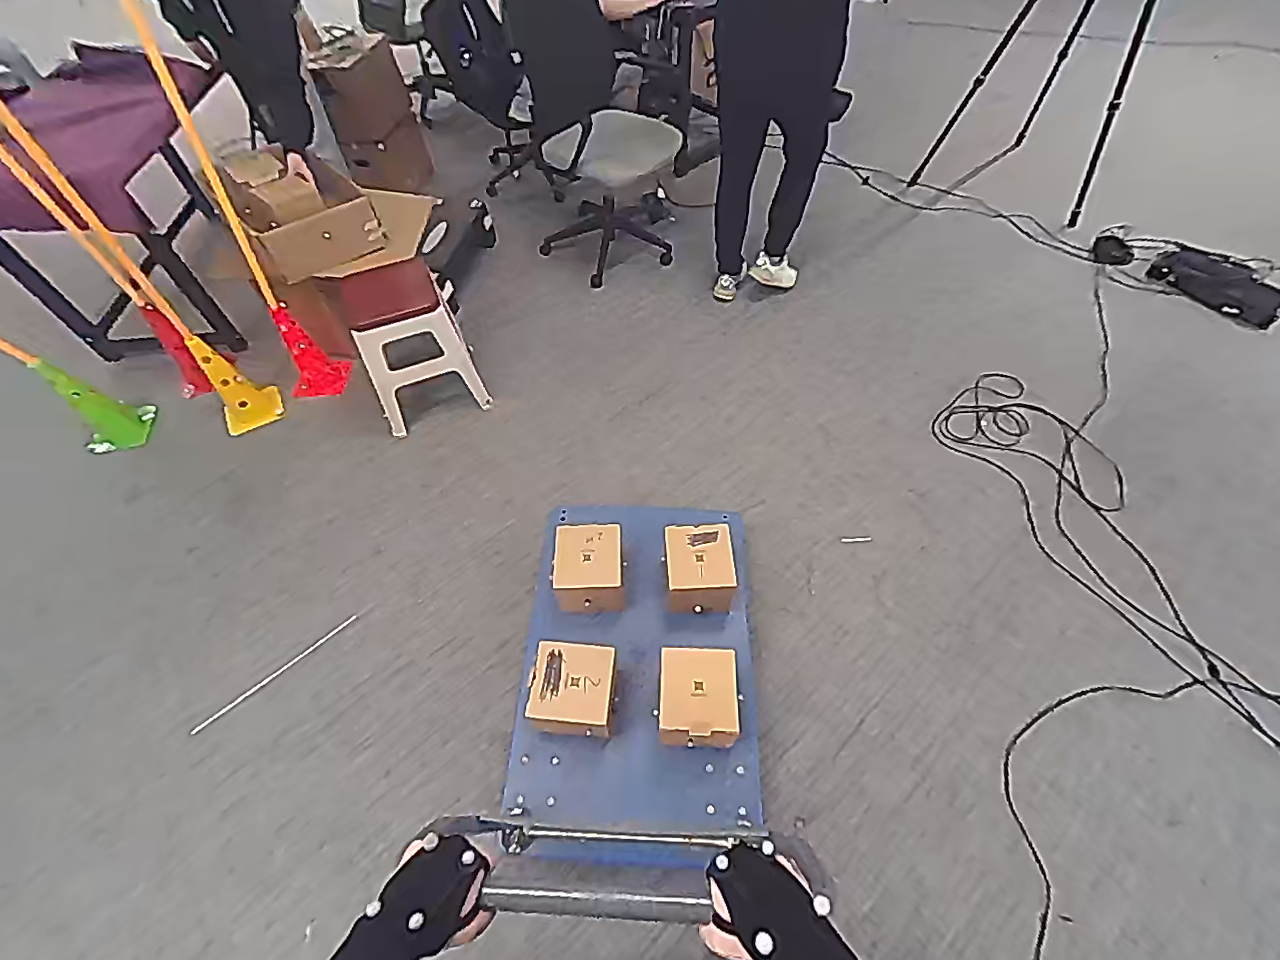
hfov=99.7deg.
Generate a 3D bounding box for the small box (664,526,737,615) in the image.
[{"bbox_3d":[0.150,0.235,1.402,0.168,0.176,0.179,-2,57,0],"label":"small box"}]

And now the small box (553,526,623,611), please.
[{"bbox_3d":[-0.129,0.235,1.406,0.168,0.176,0.179,-1,56,-1],"label":"small box"}]

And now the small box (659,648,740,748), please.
[{"bbox_3d":[0.129,0.496,1.226,0.168,0.176,0.179,2,56,2],"label":"small box"}]
